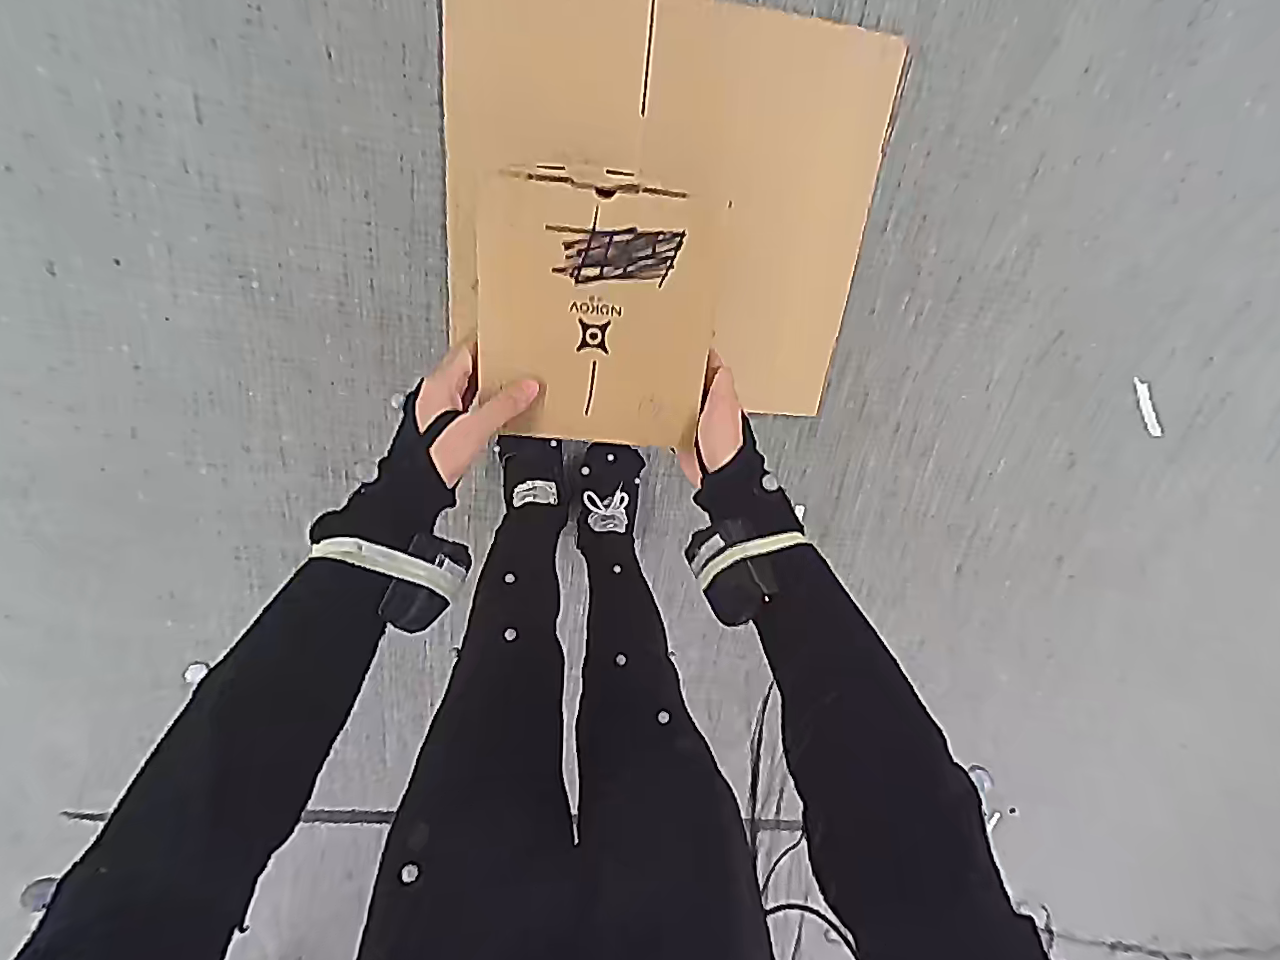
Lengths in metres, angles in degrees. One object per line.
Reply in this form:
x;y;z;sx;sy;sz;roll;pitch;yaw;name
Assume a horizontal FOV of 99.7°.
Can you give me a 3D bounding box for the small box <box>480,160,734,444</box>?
-0.033;-0.146;0.451;0.168;0.176;0.179;5;114;-5;small box
